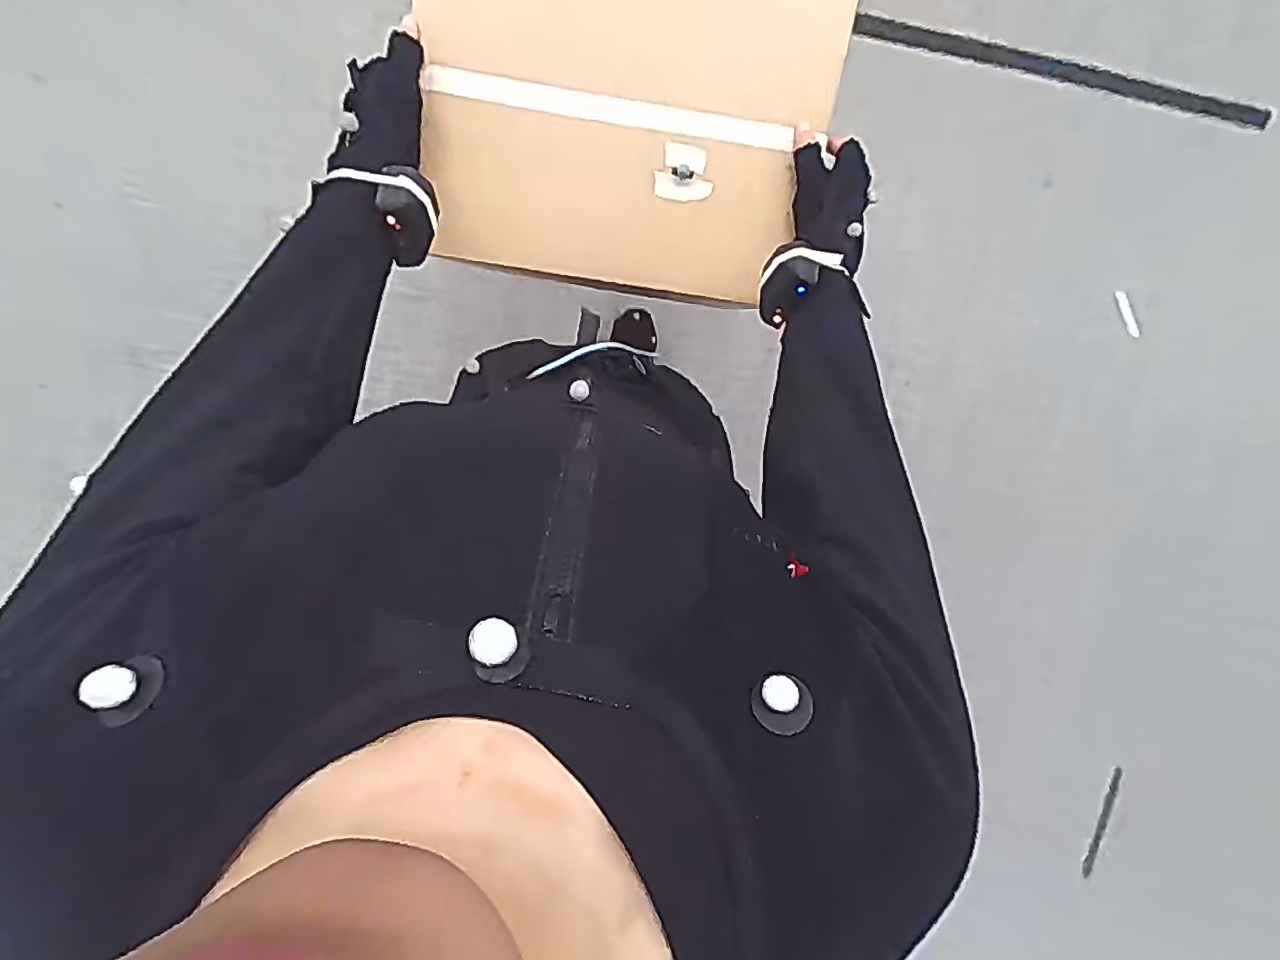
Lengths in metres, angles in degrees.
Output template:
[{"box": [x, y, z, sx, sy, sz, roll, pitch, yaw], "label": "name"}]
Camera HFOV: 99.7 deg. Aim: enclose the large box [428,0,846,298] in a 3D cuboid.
[{"box": [-0.019, -0.417, 0.686, 0.408, 0.320, 0.320, 7, 108, -5], "label": "large box"}]
